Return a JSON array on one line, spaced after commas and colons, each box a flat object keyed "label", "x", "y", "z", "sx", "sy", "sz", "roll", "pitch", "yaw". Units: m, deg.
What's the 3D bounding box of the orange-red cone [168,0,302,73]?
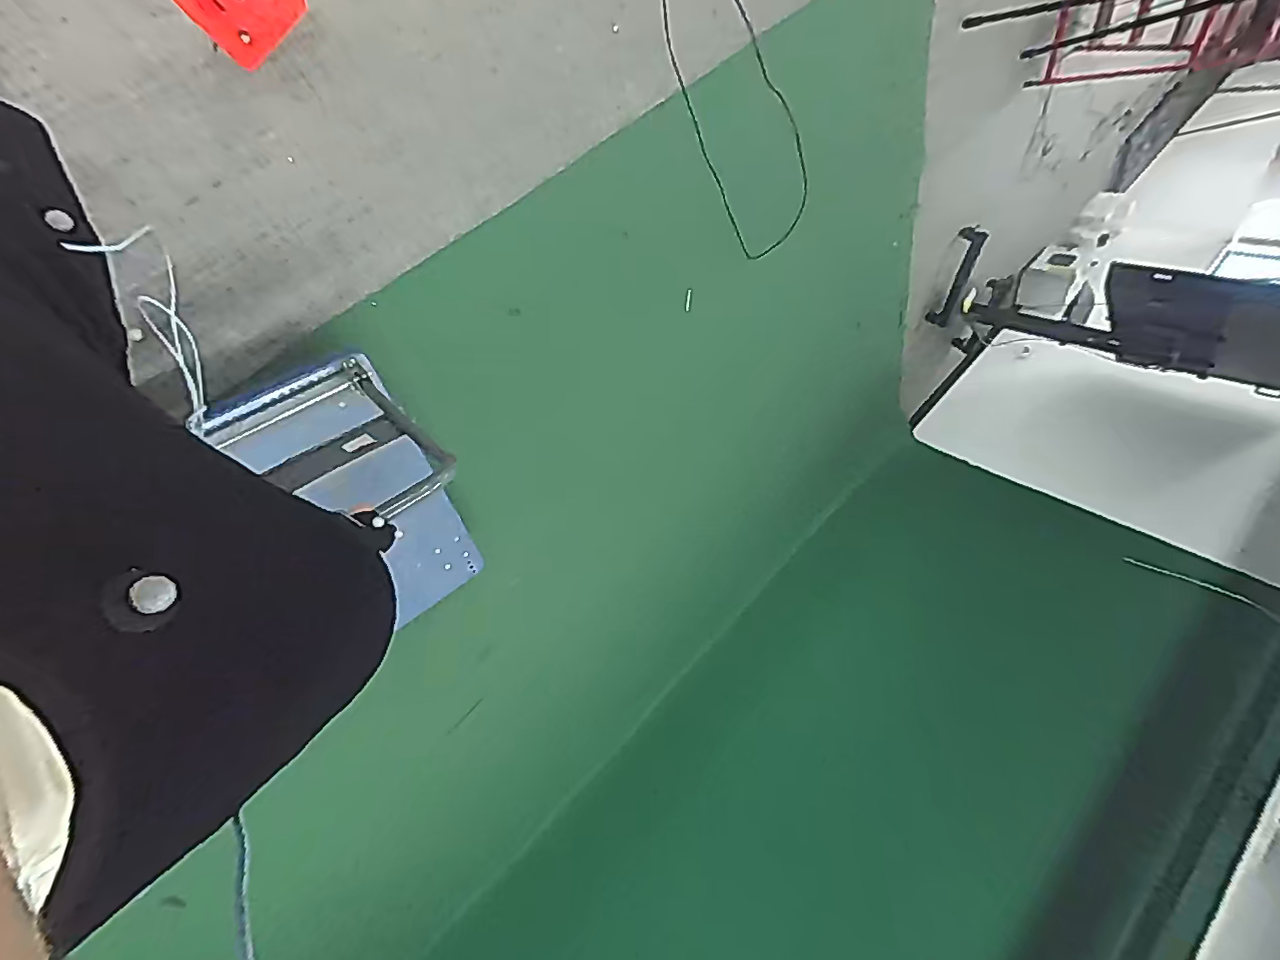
[{"label": "orange-red cone", "x": -0.692, "y": -0.878, "z": 0.949, "sx": 0.199, "sy": 0.360, "sz": 0.198, "roll": -53, "pitch": 142, "yaw": -6}]
